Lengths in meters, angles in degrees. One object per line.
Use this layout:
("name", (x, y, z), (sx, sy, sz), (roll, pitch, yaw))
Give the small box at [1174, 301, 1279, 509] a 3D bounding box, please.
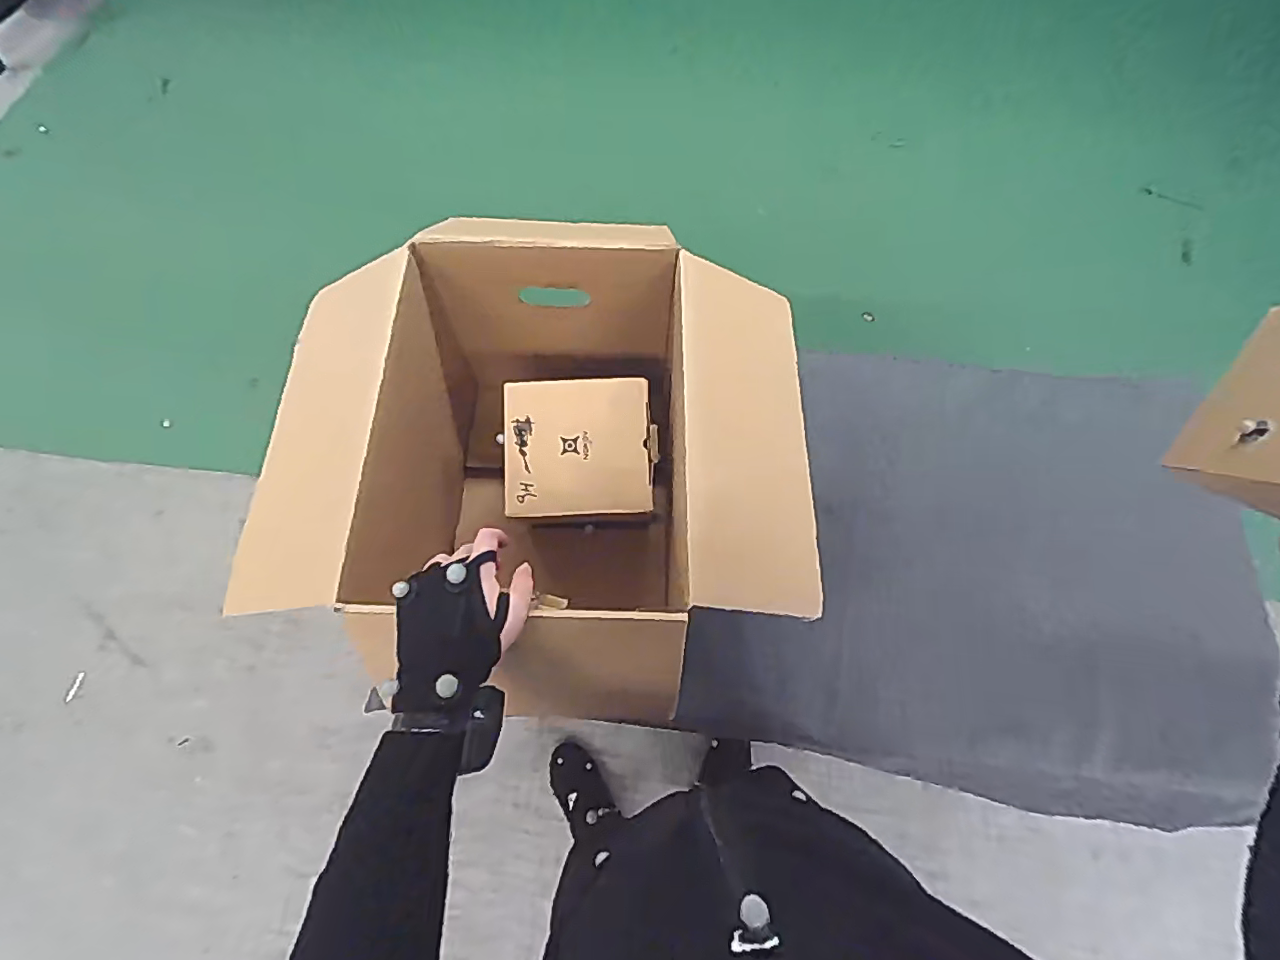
("small box", (0.622, -0.051, 0.453), (0.168, 0.176, 0.179), (28, 104, 7))
